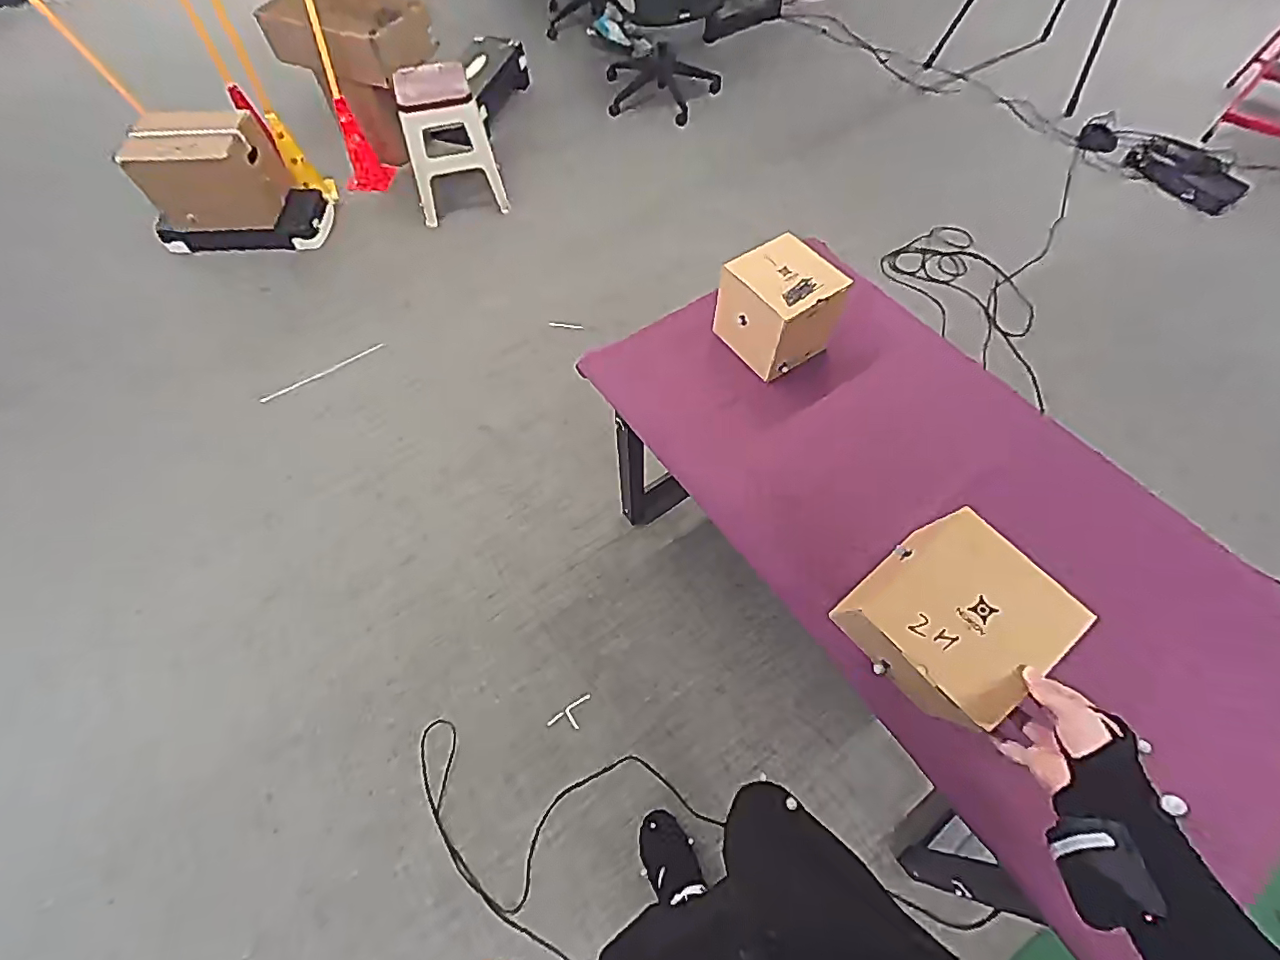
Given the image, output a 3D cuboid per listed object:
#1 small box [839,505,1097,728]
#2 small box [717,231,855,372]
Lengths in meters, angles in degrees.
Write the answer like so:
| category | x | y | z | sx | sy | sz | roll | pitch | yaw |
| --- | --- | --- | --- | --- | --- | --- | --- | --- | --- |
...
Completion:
| category | x | y | z | sx | sy | sz | roll | pitch | yaw |
| --- | --- | --- | --- | --- | --- | --- | --- | --- | --- |
| small box | 0.369 | 0.159 | 0.651 | 0.179 | 0.176 | 0.168 | -42 | 73 | -4 |
| small box | 0.269 | -0.334 | 1.040 | 0.168 | 0.176 | 0.179 | -31 | 64 | -16 |
